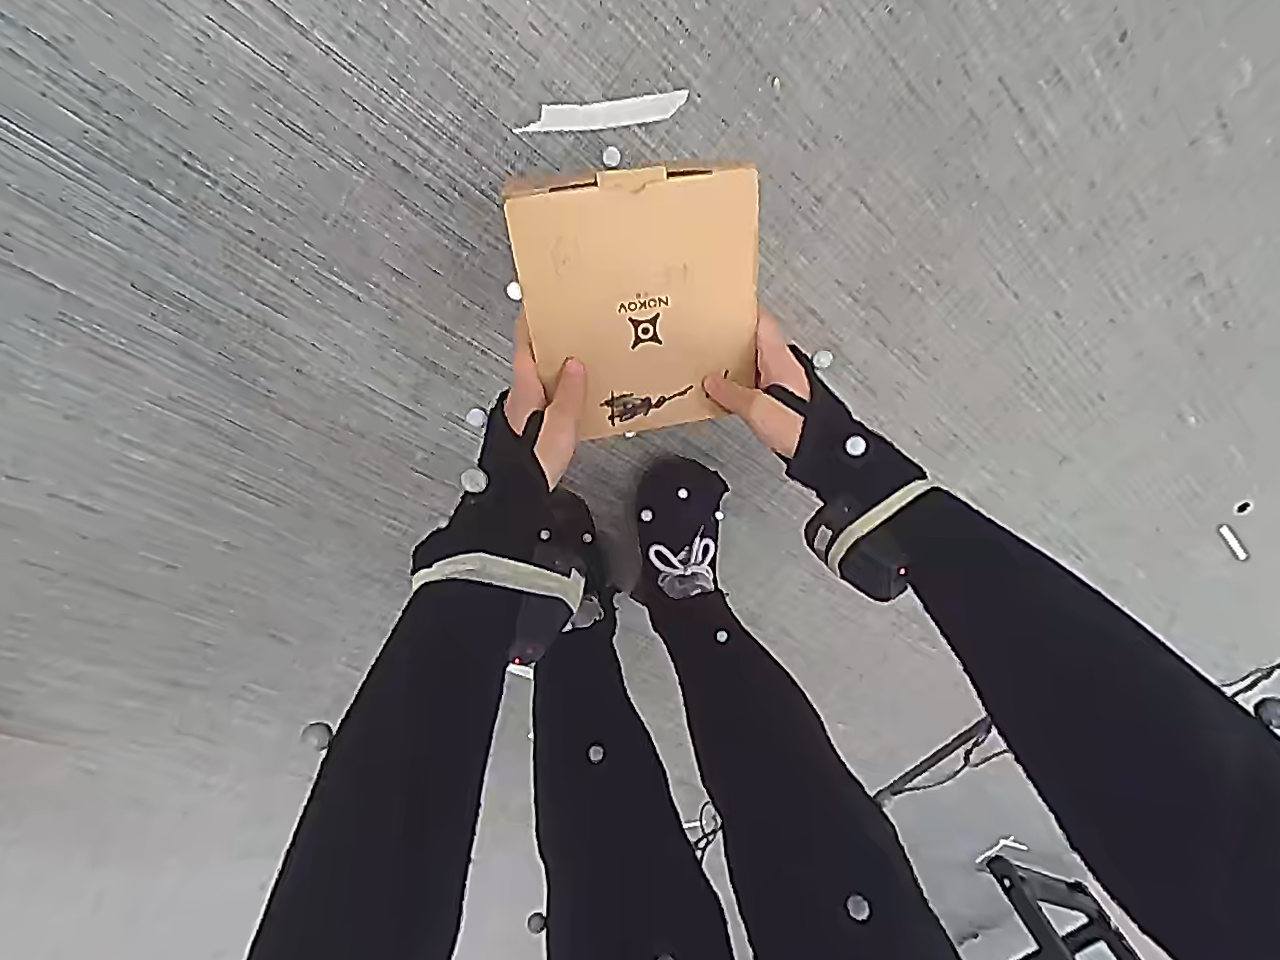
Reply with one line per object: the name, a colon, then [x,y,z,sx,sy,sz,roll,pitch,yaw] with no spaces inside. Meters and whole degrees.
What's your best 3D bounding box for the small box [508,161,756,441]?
small box: [-0.012,-0.157,0.451,0.168,0.176,0.179,-11,122,-6]
